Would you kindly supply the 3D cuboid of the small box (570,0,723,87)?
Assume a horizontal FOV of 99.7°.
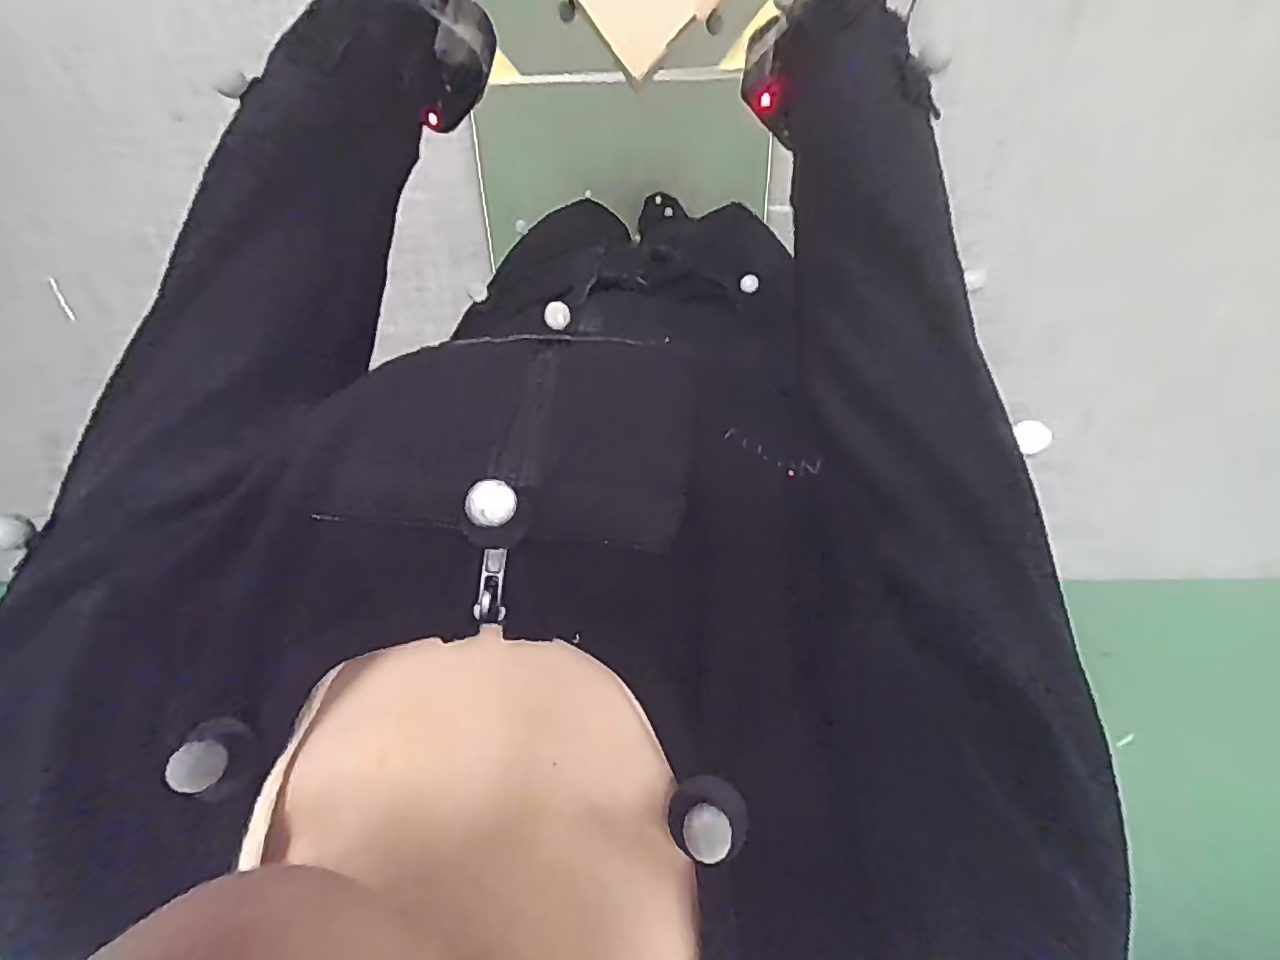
[{"bbox_3d":[0.003,-0.449,0.420,0.168,0.176,0.179,-36,117,21],"label":"small box"}]
